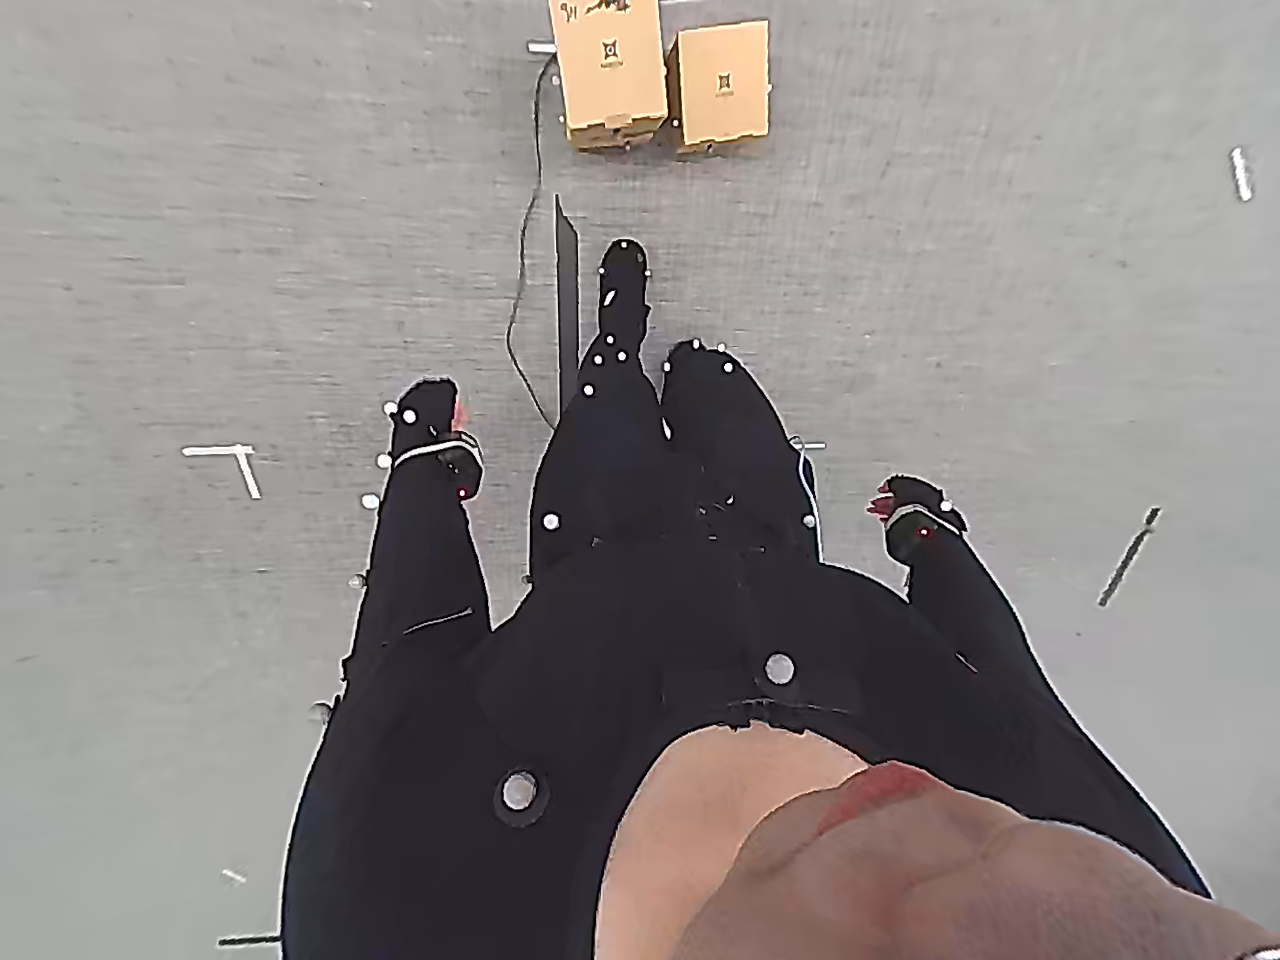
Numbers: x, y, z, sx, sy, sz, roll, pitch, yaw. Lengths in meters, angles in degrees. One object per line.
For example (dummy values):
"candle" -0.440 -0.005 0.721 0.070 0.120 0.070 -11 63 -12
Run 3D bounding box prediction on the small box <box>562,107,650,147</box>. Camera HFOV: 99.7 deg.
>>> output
"small box" -0.069 -0.761 1.059 0.168 0.176 0.179 -5 117 -3

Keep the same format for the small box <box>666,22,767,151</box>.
"small box" 0.148 -0.769 1.073 0.168 0.176 0.179 -8 118 -1

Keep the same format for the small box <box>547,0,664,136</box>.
"small box" -0.055 -0.692 0.911 0.168 0.176 0.179 -9 118 -1
